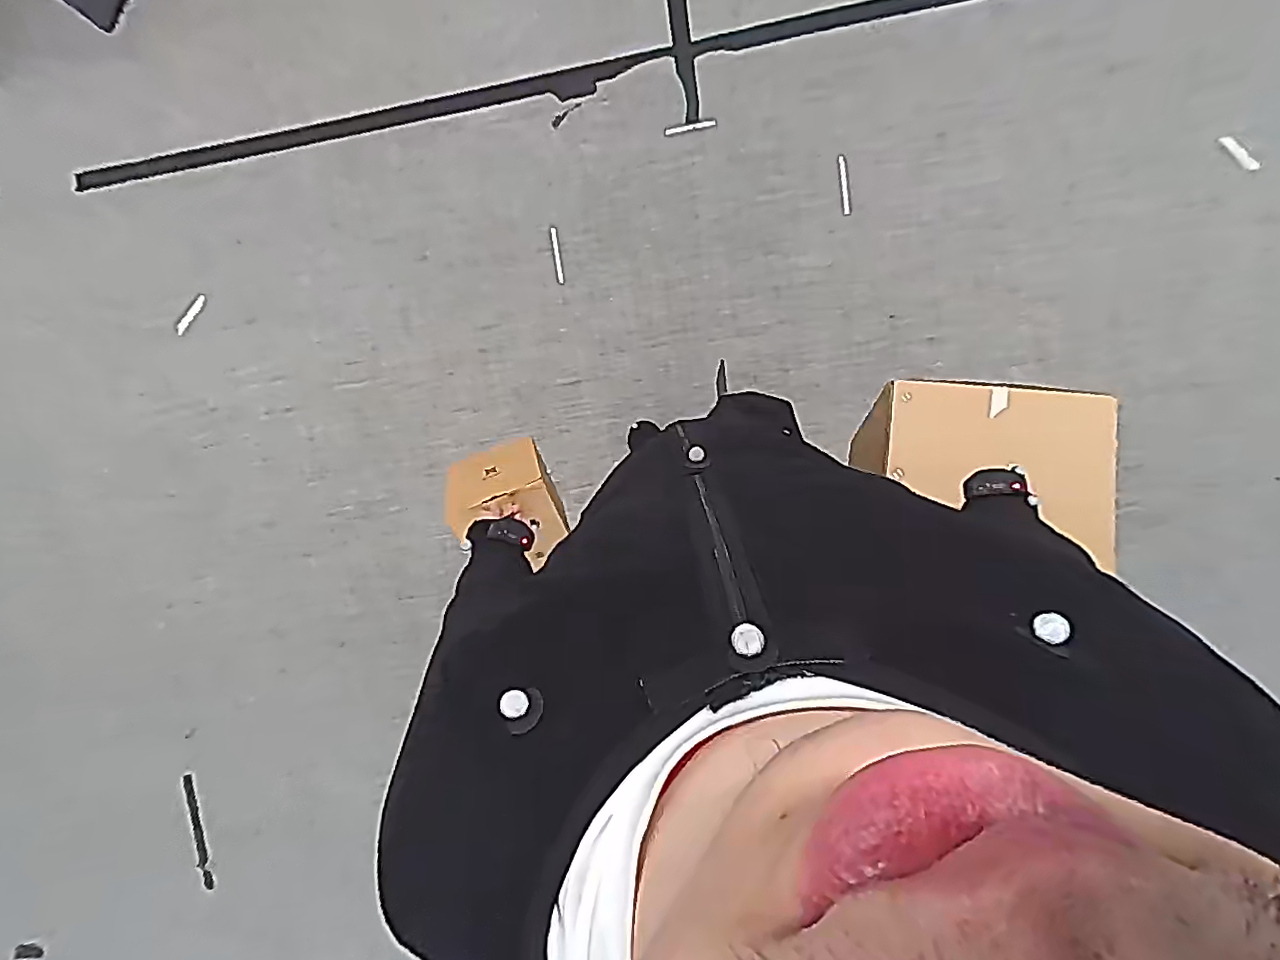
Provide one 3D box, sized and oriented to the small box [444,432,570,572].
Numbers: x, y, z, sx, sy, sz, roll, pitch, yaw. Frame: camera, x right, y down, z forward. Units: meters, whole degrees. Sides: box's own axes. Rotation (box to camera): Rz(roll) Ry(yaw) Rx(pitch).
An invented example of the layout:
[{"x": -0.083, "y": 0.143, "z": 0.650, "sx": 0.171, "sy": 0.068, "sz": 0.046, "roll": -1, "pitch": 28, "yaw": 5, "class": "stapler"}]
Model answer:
[{"x": -0.240, "y": 0.045, "z": 0.985, "sx": 0.168, "sy": 0.179, "sz": 0.176, "roll": -22, "pitch": 126, "yaw": -5, "class": "small box"}]
